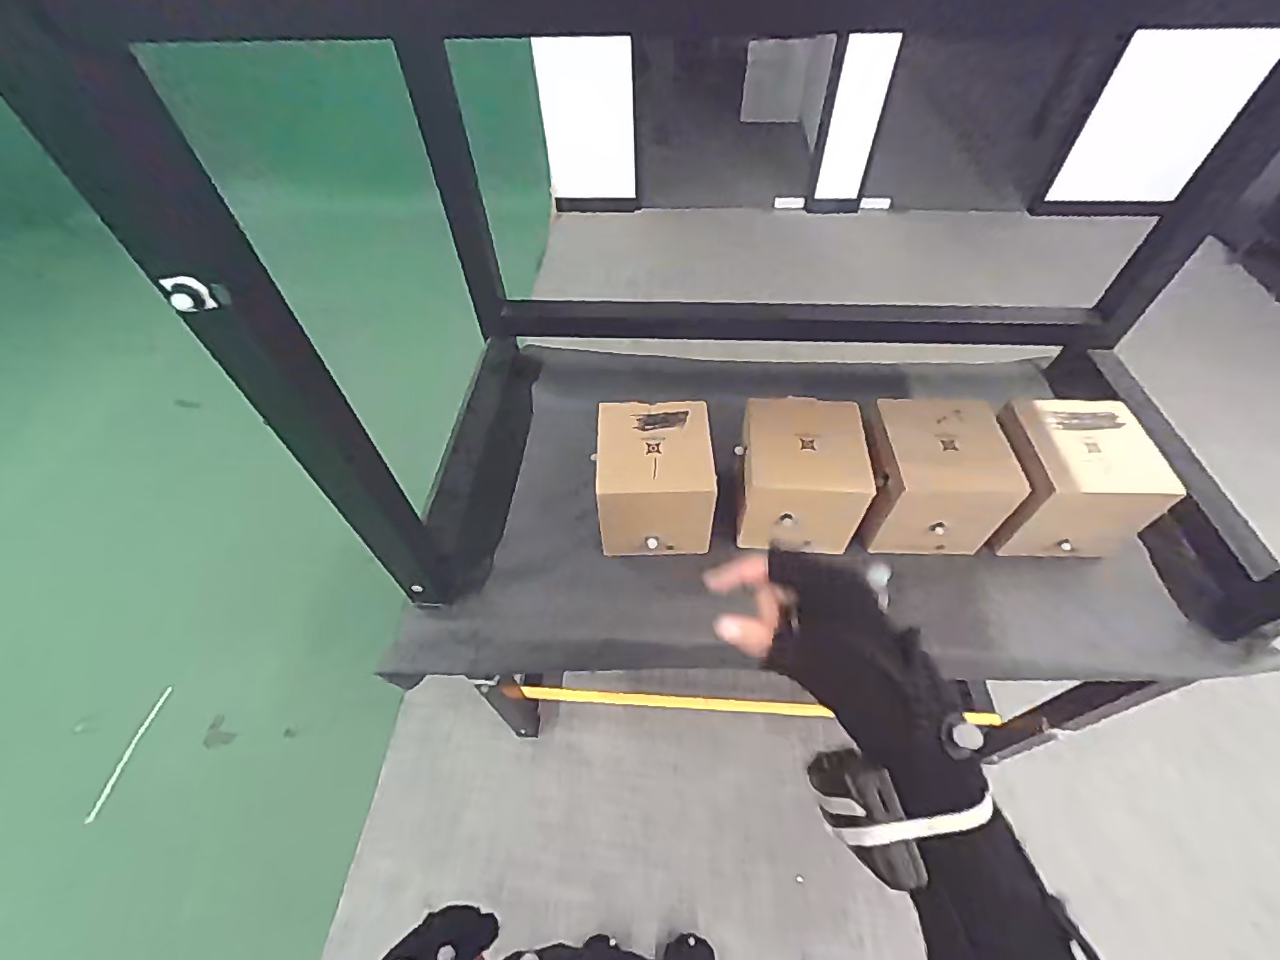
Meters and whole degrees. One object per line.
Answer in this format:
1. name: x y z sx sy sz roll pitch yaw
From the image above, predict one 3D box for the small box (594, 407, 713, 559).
1. small box: 0.018 0.006 0.848 0.168 0.176 0.179 -2 52 0
